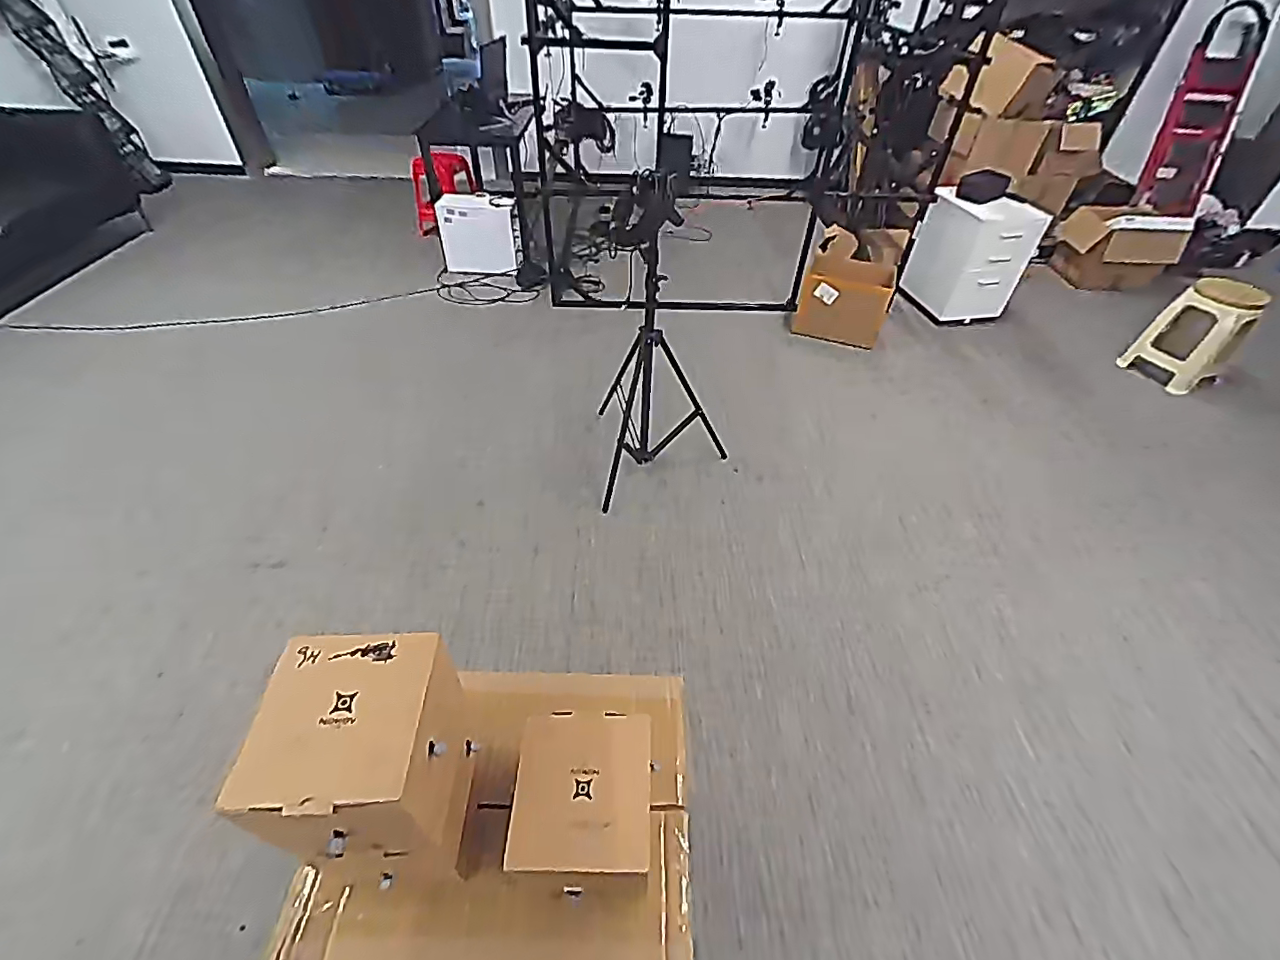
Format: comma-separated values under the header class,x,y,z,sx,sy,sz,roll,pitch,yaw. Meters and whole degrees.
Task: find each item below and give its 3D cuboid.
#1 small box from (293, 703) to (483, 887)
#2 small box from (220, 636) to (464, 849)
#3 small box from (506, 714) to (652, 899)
class,x,y,z,sx,sy,sz,roll,pitch,yaw
small box,-0.312,0.416,0.718,0.168,0.176,0.179,1,44,-3
small box,-0.305,0.296,0.605,0.168,0.176,0.179,0,45,-4
small box,-0.069,0.431,0.715,0.168,0.176,0.179,-1,45,0
